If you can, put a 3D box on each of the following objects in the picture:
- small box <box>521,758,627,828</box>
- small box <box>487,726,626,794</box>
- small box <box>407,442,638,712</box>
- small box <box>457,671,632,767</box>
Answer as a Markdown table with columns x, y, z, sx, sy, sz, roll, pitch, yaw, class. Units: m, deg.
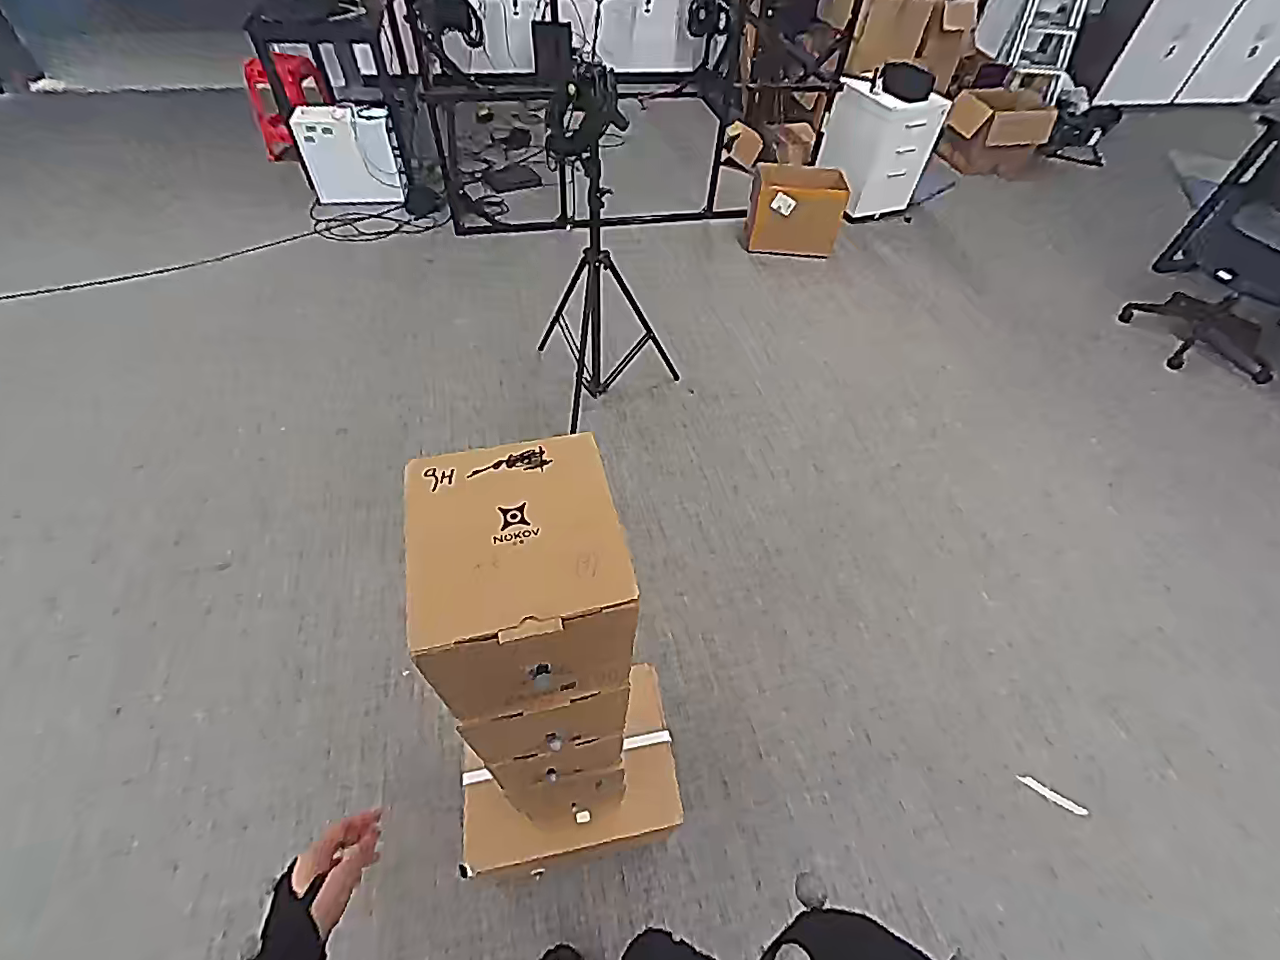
| x | y | z | sx | sy | sz | roll | pitch | yaw | class |
| --- | --- | --- | --- | --- | --- | --- | --- | --- | --- |
| -0.126 | 0.517 | 0.992 | 0.179 | 0.176 | 0.168 | -9 | 53 | -12 | small box |
| -0.119 | 0.306 | 0.743 | 0.168 | 0.176 | 0.179 | -9 | 53 | -11 | small box |
| -0.103 | 0.094 | 0.492 | 0.168 | 0.176 | 0.179 | -10 | 54 | -12 | small box |
| -0.112 | 0.201 | 0.617 | 0.168 | 0.176 | 0.179 | -10 | 54 | -11 | small box |
